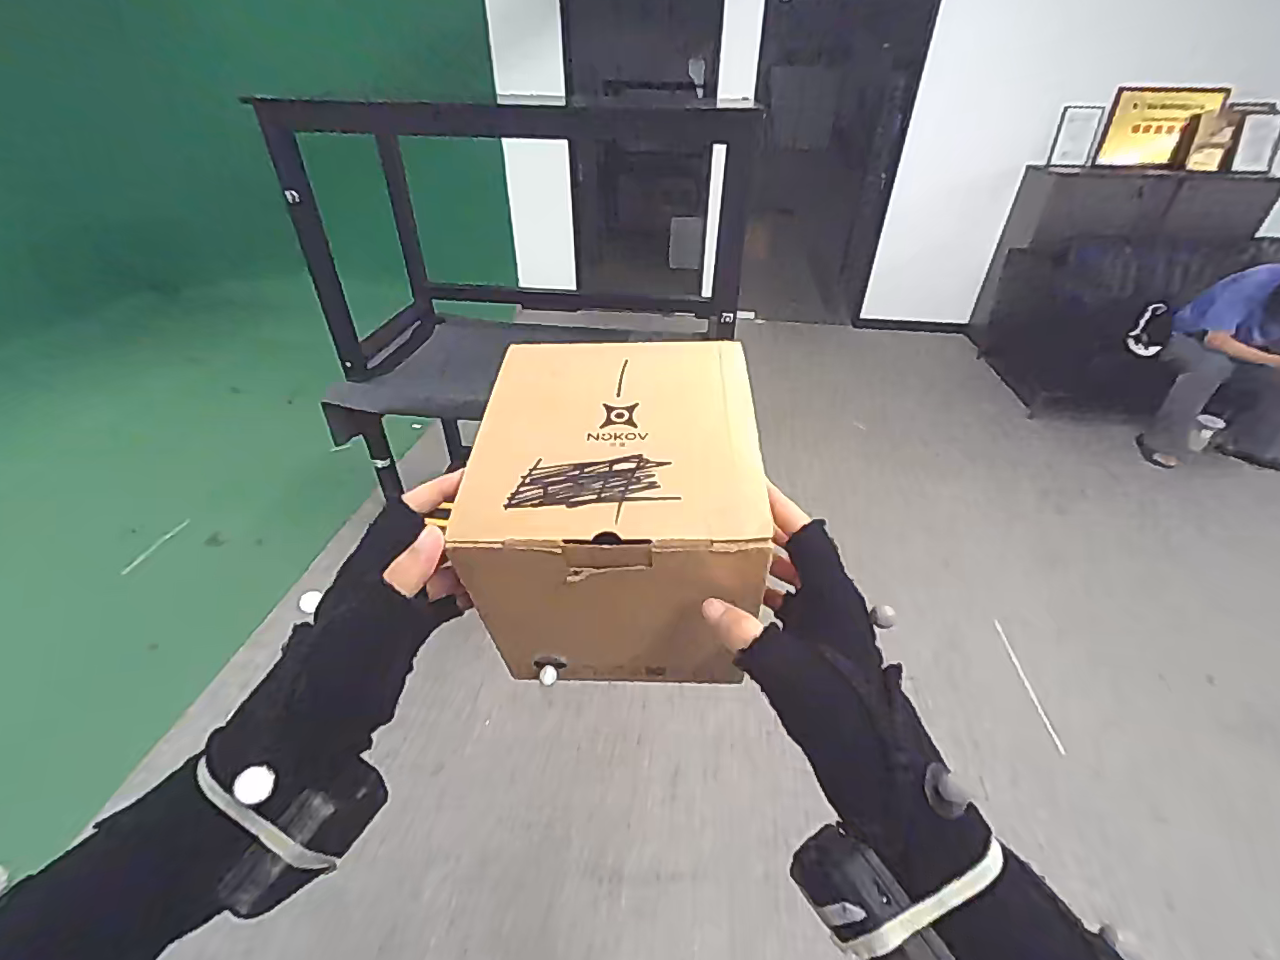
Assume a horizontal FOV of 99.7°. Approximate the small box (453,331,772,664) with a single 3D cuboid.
[{"bbox_3d":[-0.008,0.015,0.382,0.168,0.176,0.179,0,46,3],"label":"small box"}]
